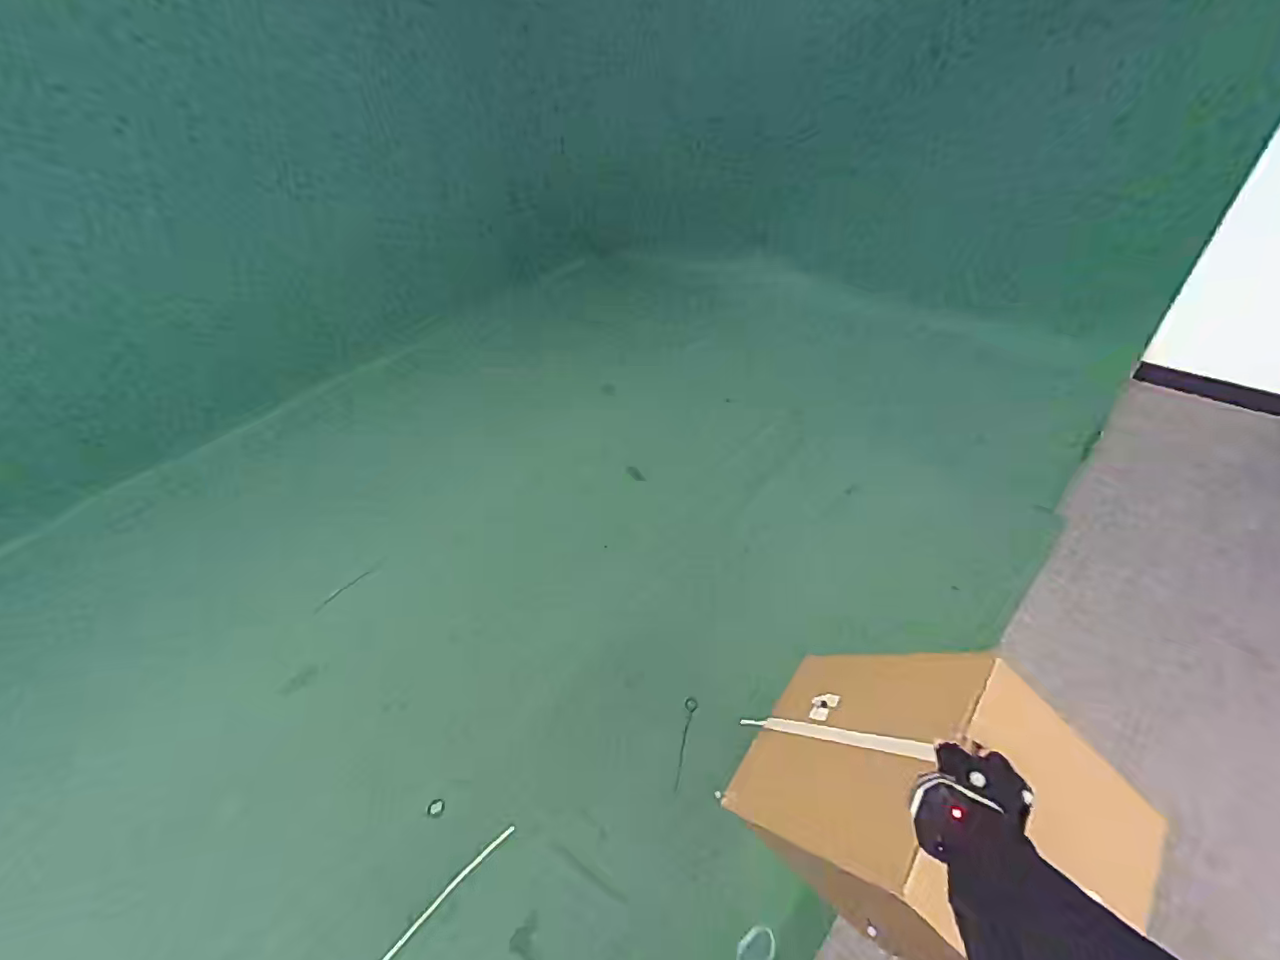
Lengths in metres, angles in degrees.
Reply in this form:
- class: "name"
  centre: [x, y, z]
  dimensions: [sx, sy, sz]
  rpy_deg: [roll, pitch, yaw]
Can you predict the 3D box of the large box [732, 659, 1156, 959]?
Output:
- class: "large box"
  centre: [0.417, 0.497, 0.806]
  dimensions: [0.320, 0.408, 0.320]
  rpy_deg: [44, 64, 0]
